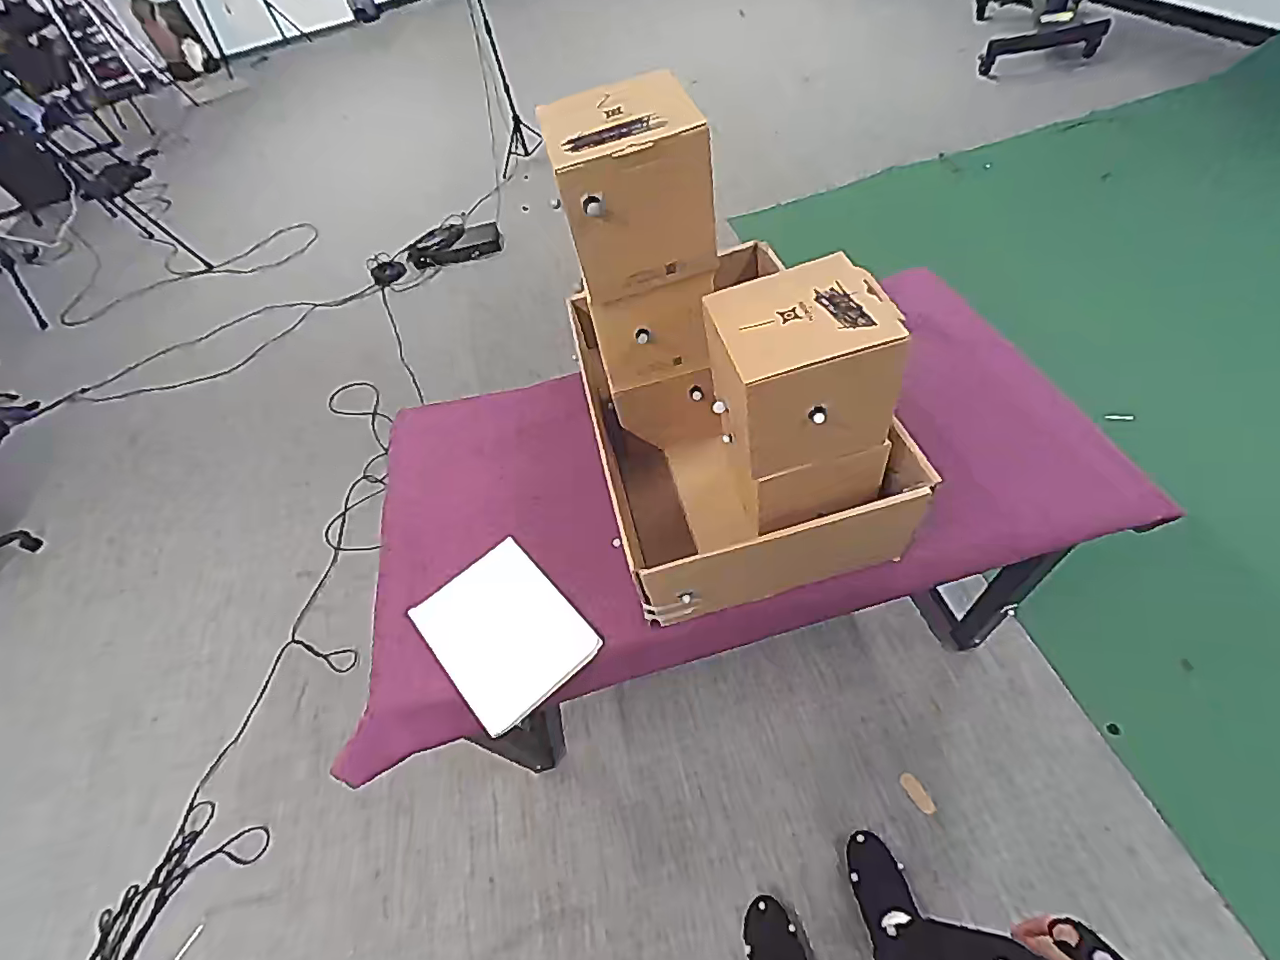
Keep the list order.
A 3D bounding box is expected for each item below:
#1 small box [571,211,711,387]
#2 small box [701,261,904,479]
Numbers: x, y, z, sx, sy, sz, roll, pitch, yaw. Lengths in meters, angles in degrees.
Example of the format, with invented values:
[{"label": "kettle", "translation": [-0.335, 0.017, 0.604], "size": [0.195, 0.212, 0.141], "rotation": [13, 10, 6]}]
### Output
[{"label": "small box", "translation": [0.008, -0.258, 0.802], "size": [0.168, 0.176, 0.179], "rotation": [-15, 53, 1]}, {"label": "small box", "translation": [0.185, -0.127, 0.655], "size": [0.179, 0.176, 0.168], "rotation": [-16, 50, 3]}]
